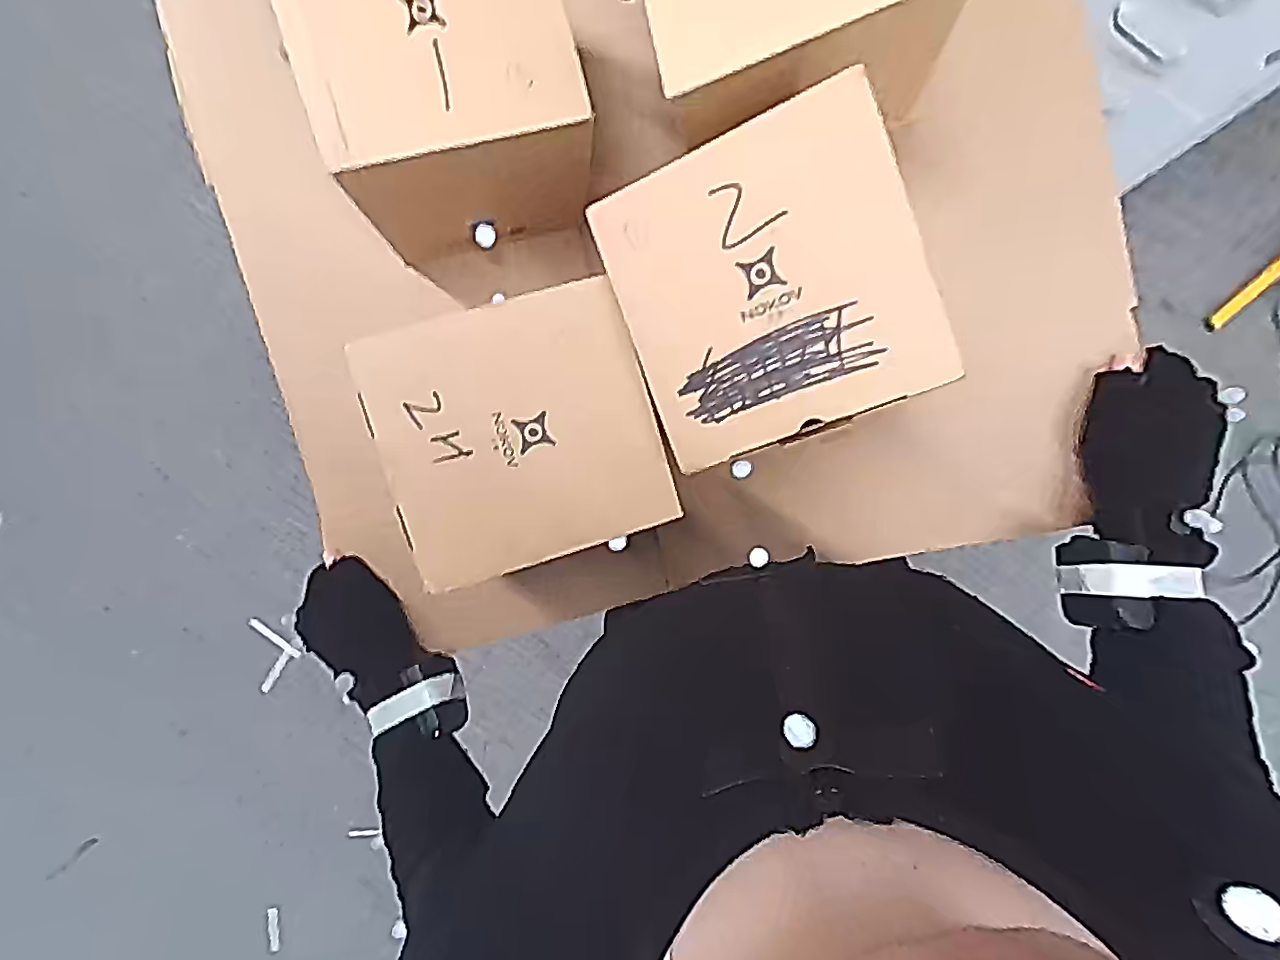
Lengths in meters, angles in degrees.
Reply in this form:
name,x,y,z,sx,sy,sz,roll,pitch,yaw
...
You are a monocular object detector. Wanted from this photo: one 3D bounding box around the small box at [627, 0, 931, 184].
name,x,y,z,sx,sy,sz,roll,pitch,yaw
small box,0.083,-0.329,0.360,0.168,0.176,0.179,-14,94,16
